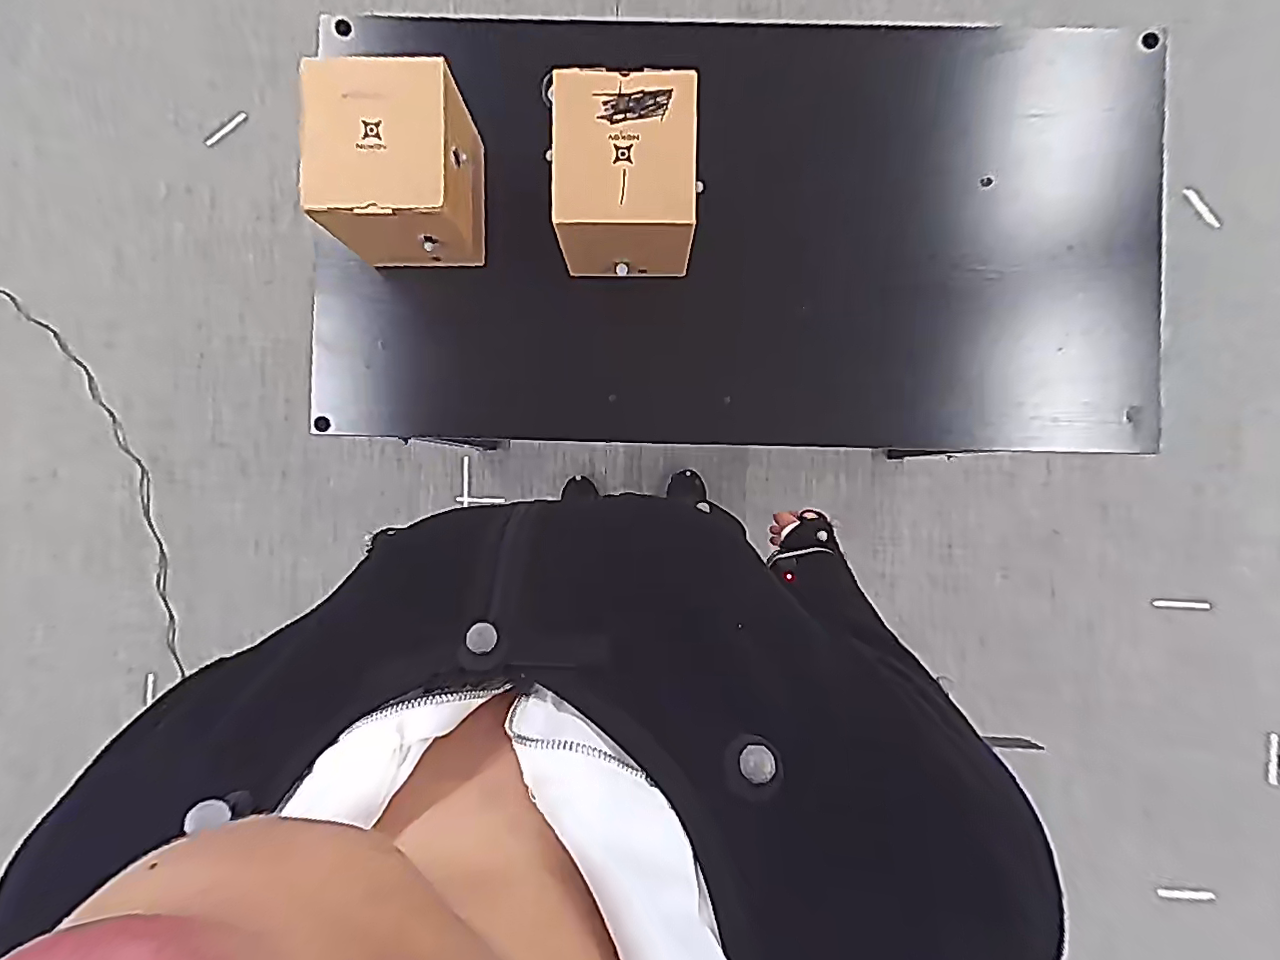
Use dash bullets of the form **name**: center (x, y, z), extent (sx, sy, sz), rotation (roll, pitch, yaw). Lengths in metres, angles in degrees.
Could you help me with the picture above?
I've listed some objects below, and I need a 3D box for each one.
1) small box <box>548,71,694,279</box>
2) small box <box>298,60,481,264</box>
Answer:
- **small box**: center (-0.022, -0.379, 0.698), extent (0.168, 0.176, 0.179), rotation (1, 91, 0)
- **small box**: center (-0.309, -0.395, 0.699), extent (0.168, 0.176, 0.179), rotation (-1, 89, -1)
